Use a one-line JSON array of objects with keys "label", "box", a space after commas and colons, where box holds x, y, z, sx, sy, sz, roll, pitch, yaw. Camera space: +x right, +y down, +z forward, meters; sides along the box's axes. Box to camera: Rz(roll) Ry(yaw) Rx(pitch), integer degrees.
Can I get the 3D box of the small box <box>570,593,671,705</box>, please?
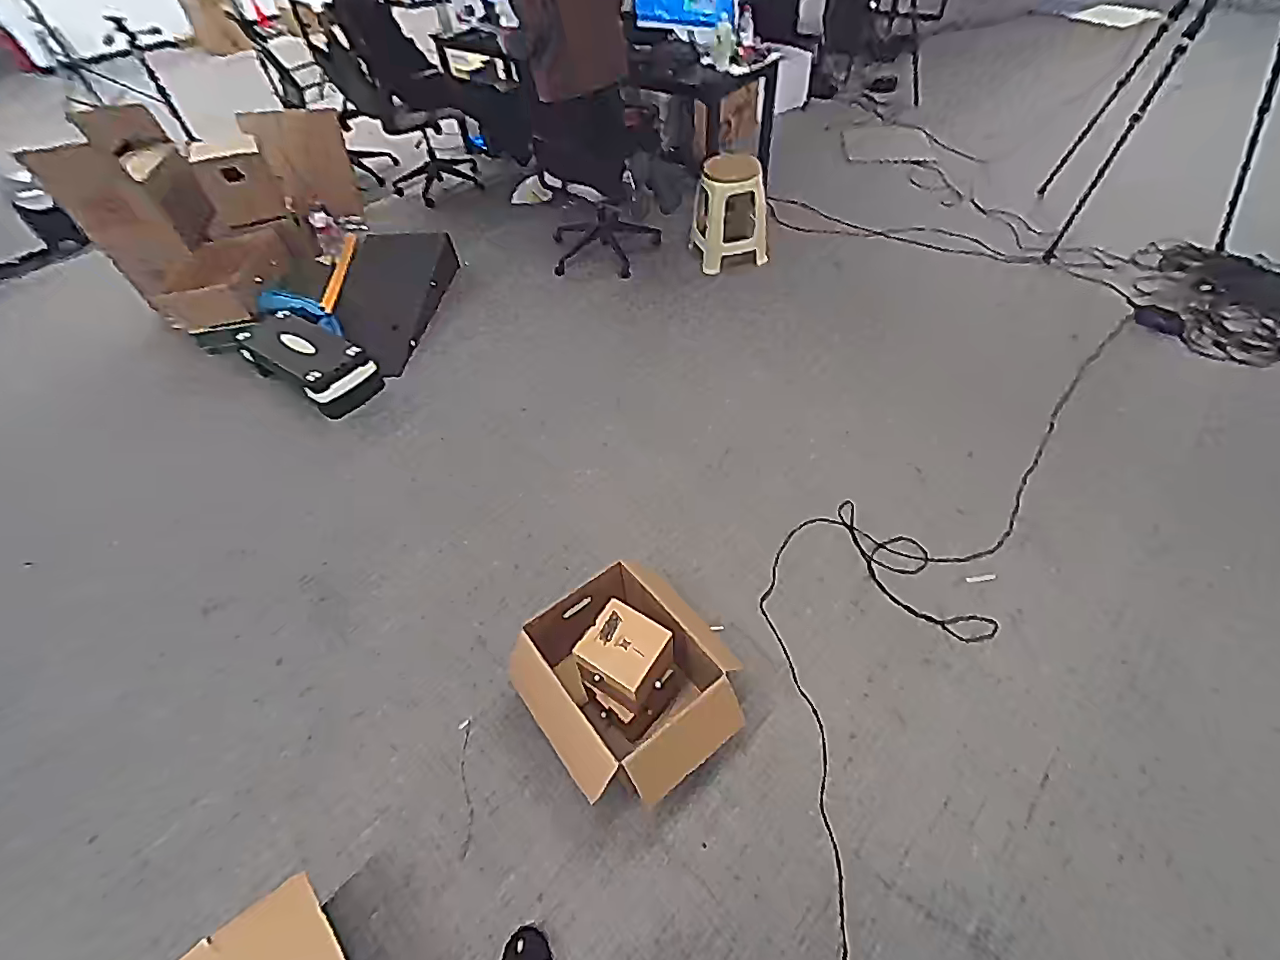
[{"label": "small box", "box": [-0.041, 0.414, 1.311, 0.179, 0.176, 0.168, 28, 59, 26]}]
